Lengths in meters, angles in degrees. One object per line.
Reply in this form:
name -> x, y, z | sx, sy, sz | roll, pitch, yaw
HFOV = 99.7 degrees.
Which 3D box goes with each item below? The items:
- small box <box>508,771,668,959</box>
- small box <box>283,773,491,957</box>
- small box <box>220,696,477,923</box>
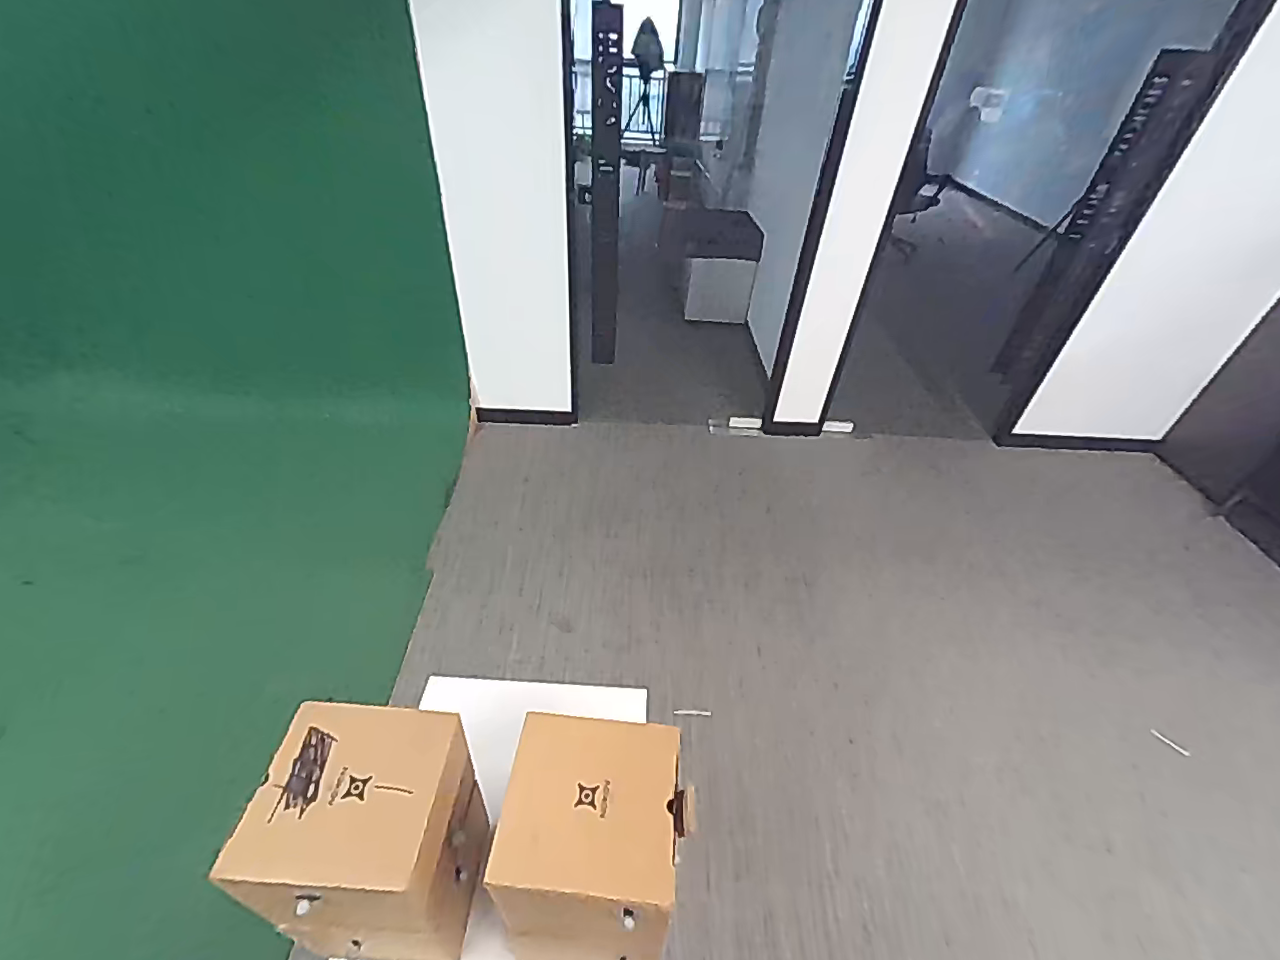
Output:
small box -> -0.057, 0.503, 0.702 | 0.179, 0.176, 0.168 | 3, 40, 1
small box -> -0.303, 0.488, 0.695 | 0.179, 0.176, 0.168 | 6, 41, -1
small box -> -0.291, 0.360, 0.590 | 0.179, 0.176, 0.168 | 5, 41, -2
